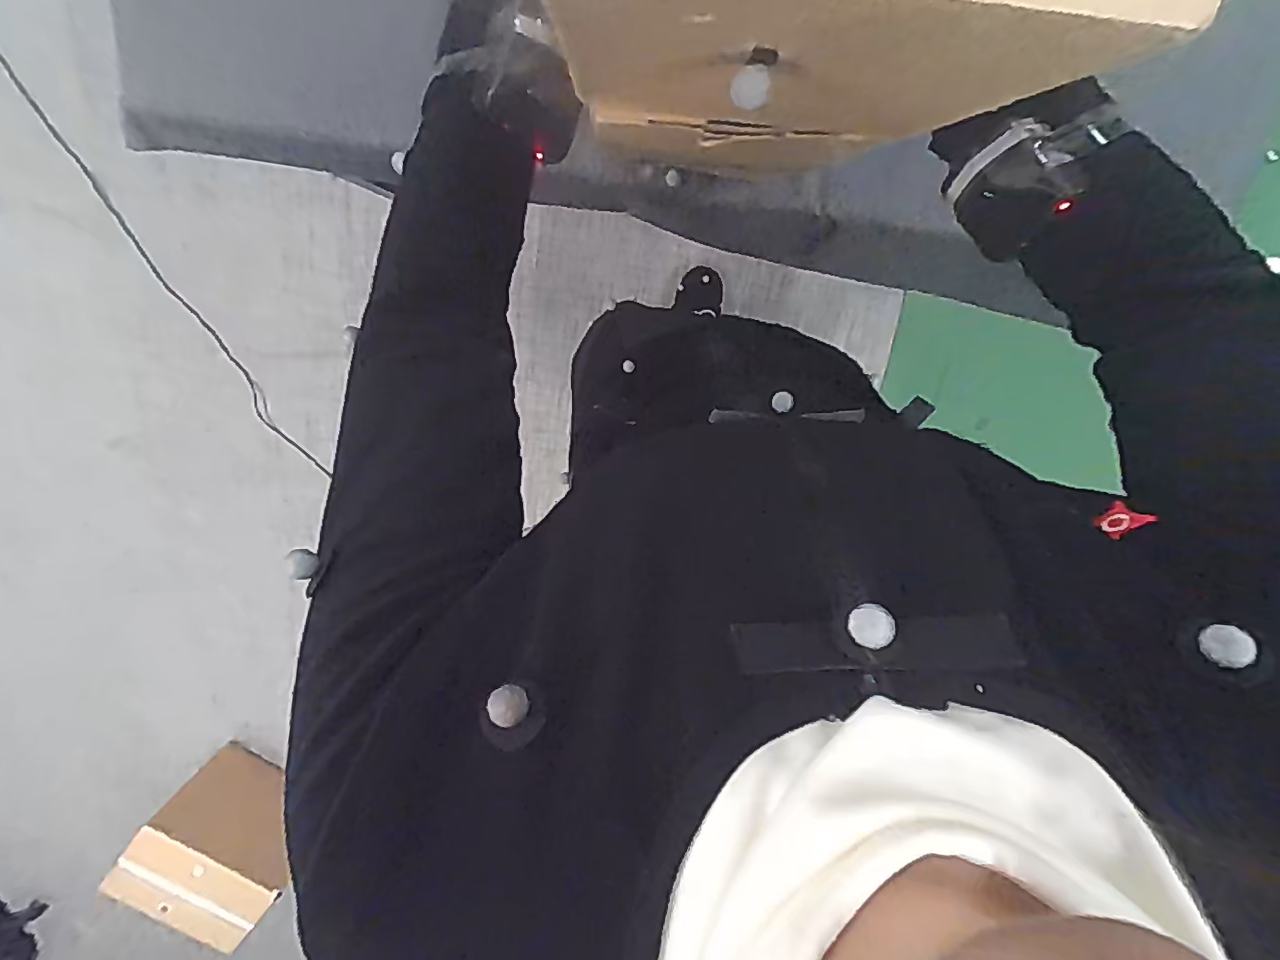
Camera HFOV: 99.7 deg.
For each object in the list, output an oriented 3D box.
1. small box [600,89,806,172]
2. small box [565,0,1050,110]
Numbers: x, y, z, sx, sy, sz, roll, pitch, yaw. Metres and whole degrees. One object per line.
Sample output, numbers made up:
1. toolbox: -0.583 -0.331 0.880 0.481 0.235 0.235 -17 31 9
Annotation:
1. small box: 0.056 -0.386 0.474 0.168 0.176 0.179 6 115 -3
2. small box: 0.059 -0.243 0.181 0.179 0.176 0.168 1 112 -2
